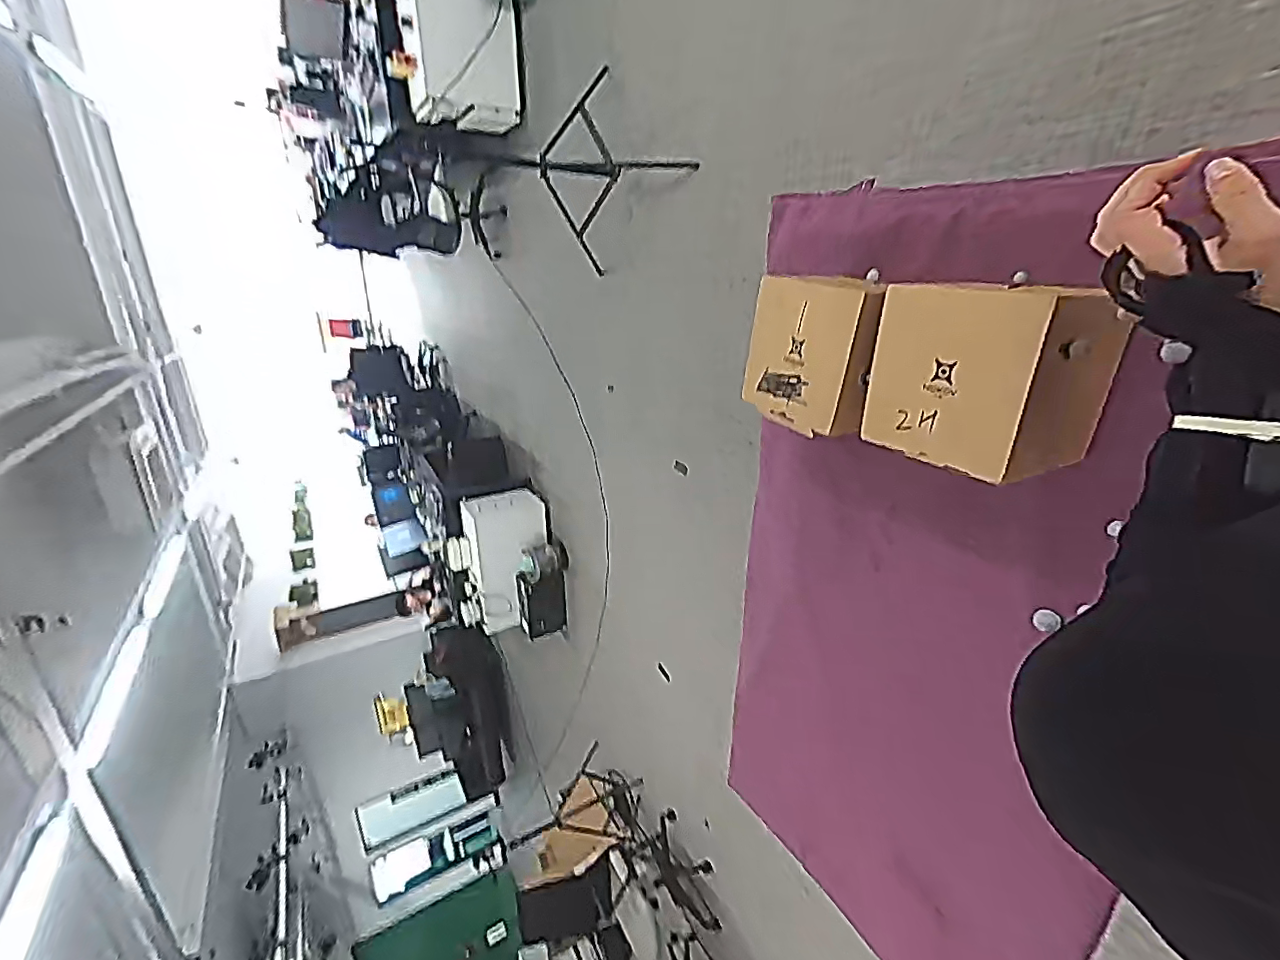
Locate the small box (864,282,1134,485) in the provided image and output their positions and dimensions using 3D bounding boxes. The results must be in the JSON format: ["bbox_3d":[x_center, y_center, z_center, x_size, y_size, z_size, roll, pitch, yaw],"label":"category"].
[{"bbox_3d":[0.377,-0.116,0.580,0.168,0.176,0.179,35,131,53],"label":"small box"}]

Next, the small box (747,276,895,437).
[{"bbox_3d":[0.274,-0.177,0.740,0.168,0.176,0.179,37,130,48],"label":"small box"}]
